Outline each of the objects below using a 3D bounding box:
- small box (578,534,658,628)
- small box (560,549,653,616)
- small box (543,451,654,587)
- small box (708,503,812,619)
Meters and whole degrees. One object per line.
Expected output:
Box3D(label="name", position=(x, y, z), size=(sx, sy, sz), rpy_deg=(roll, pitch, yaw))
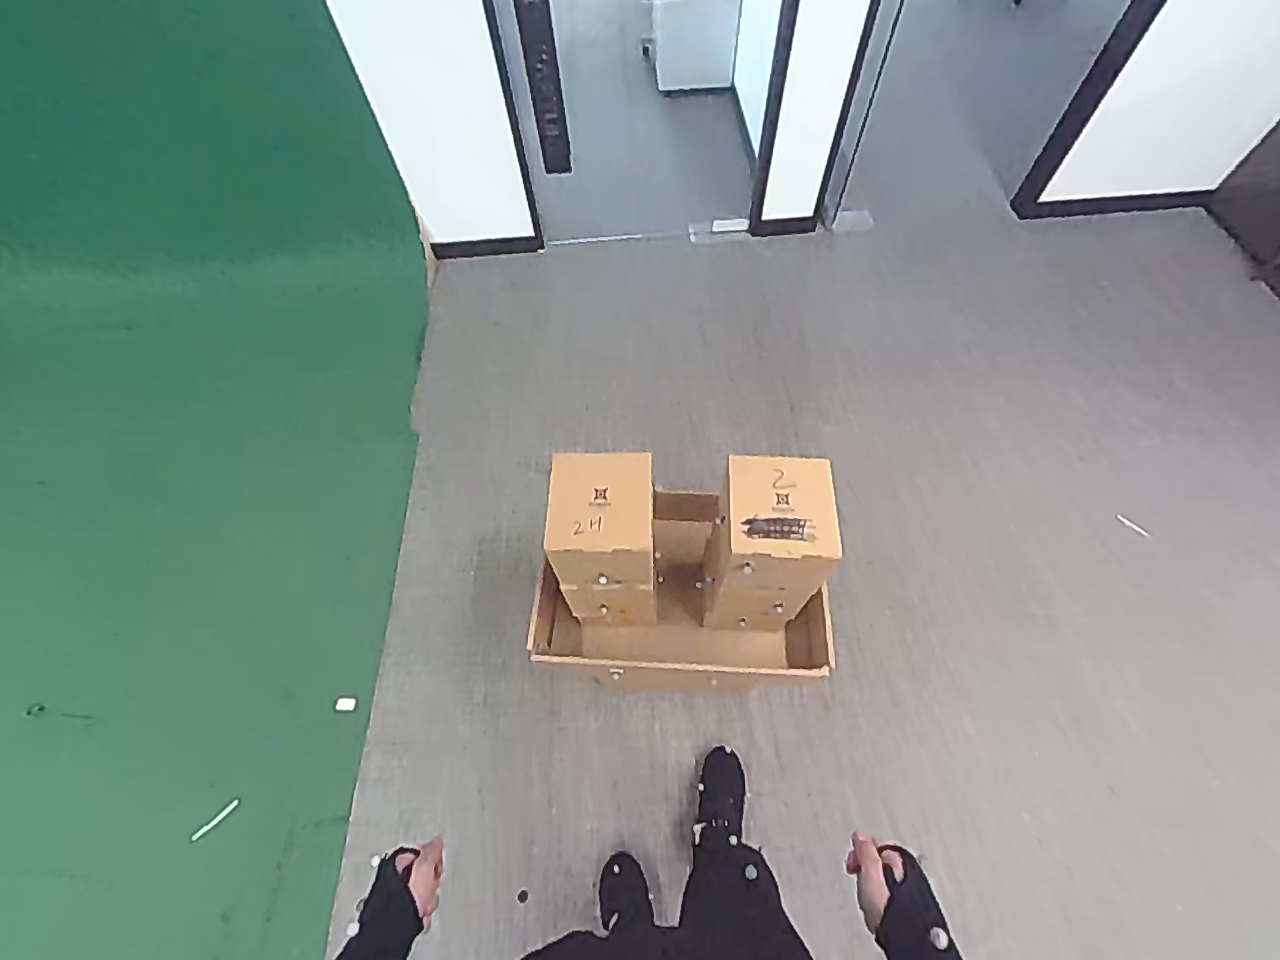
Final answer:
Box3D(label="small box", position=(-0.051, 0.226, 1.201), size=(0.179, 0.176, 0.168), rpy_deg=(0, 60, 2))
Box3D(label="small box", position=(-0.059, 0.155, 1.055), size=(0.168, 0.176, 0.179), rpy_deg=(0, 60, 1))
Box3D(label="small box", position=(-0.061, 0.069, 0.915), size=(0.168, 0.176, 0.179), rpy_deg=(0, 61, 2))
Box3D(label="small box", position=(0.223, 0.161, 1.041), size=(0.168, 0.176, 0.179), rpy_deg=(3, 59, 2))
